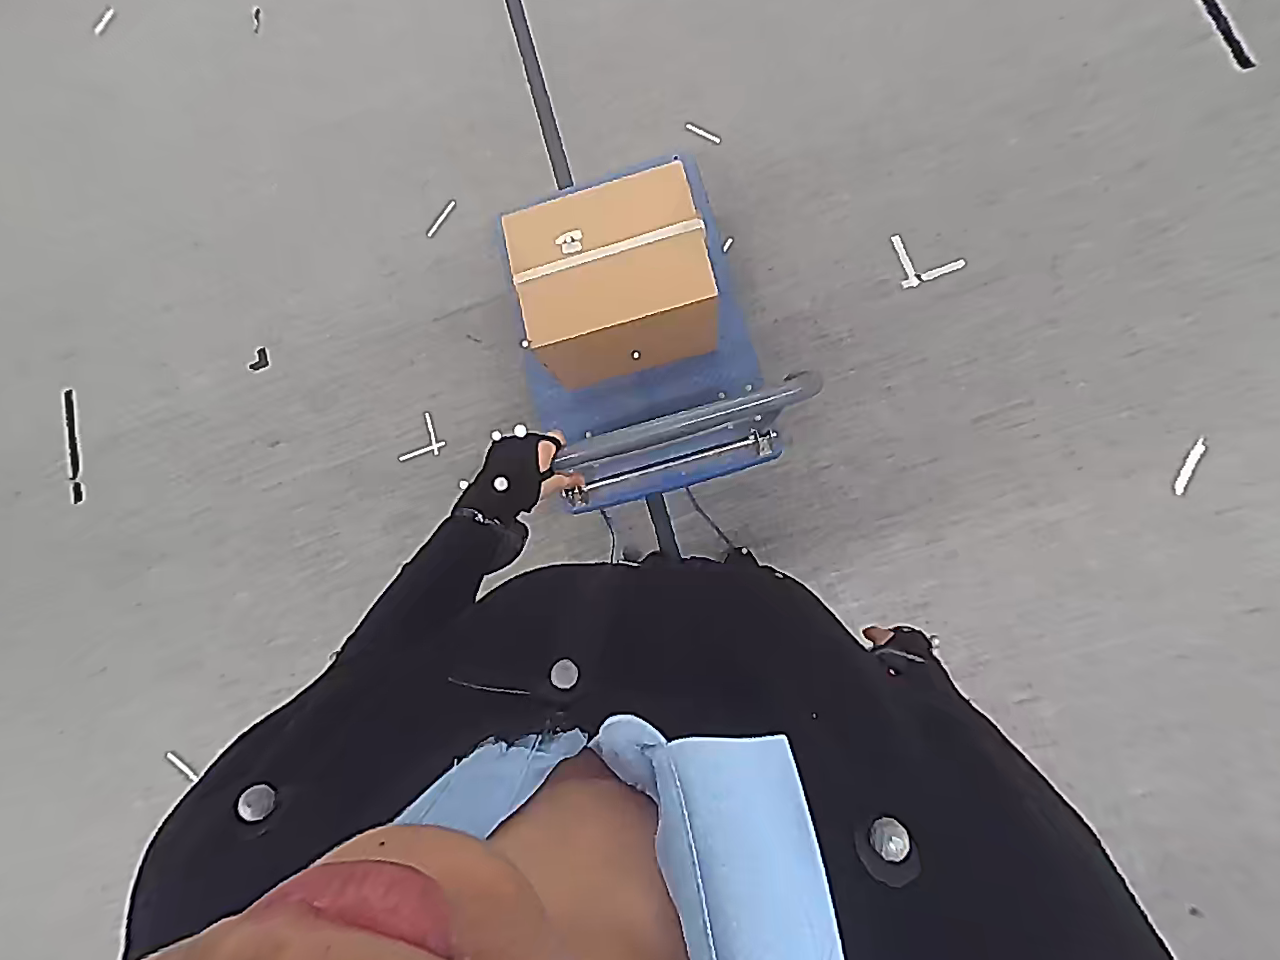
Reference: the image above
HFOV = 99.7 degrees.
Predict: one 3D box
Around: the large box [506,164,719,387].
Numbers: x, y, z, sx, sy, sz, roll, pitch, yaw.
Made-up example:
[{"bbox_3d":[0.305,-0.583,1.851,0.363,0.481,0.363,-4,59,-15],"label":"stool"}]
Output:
[{"bbox_3d":[-0.046,-0.452,1.281,0.408,0.320,0.320,-15,80,7],"label":"large box"}]
